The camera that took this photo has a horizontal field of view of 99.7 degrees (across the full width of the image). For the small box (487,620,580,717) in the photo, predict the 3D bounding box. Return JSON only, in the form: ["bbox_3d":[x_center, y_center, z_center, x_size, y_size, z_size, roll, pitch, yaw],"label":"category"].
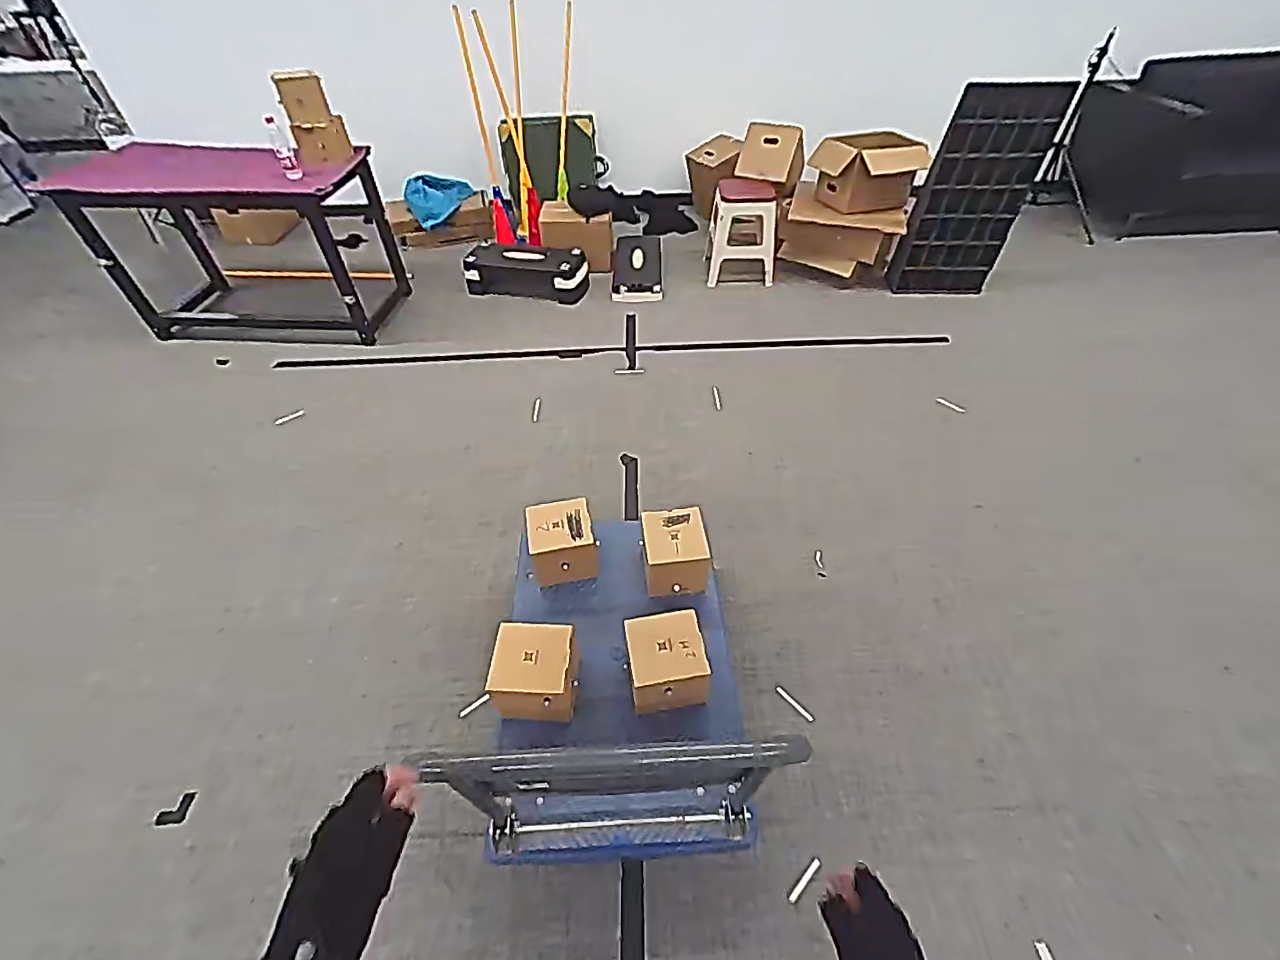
[{"bbox_3d":[-0.244,0.451,1.288,0.179,0.176,0.168,2,47,1],"label":"small box"}]

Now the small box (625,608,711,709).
[{"bbox_3d":[0.064,0.432,1.296,0.179,0.176,0.168,-7,48,-5],"label":"small box"}]

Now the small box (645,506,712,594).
[{"bbox_3d":[0.101,0.196,1.511,0.168,0.176,0.179,-5,49,-3],"label":"small box"}]
